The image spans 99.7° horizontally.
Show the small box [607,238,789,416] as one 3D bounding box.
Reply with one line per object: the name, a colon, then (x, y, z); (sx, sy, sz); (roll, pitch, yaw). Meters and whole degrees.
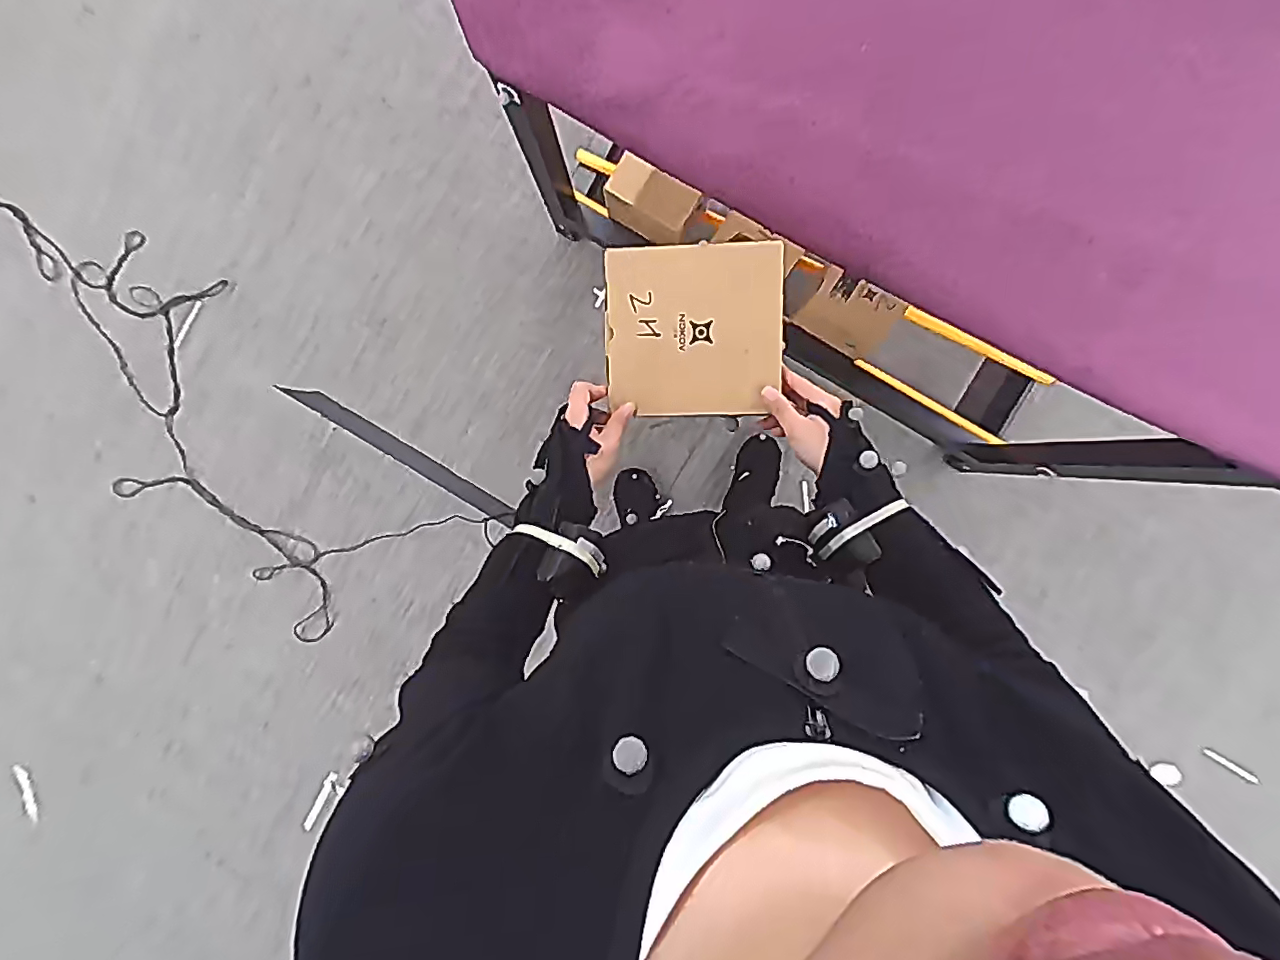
small box: (0.062, -0.157, 0.603); (0.179, 0.176, 0.168); (0, 95, 6)
